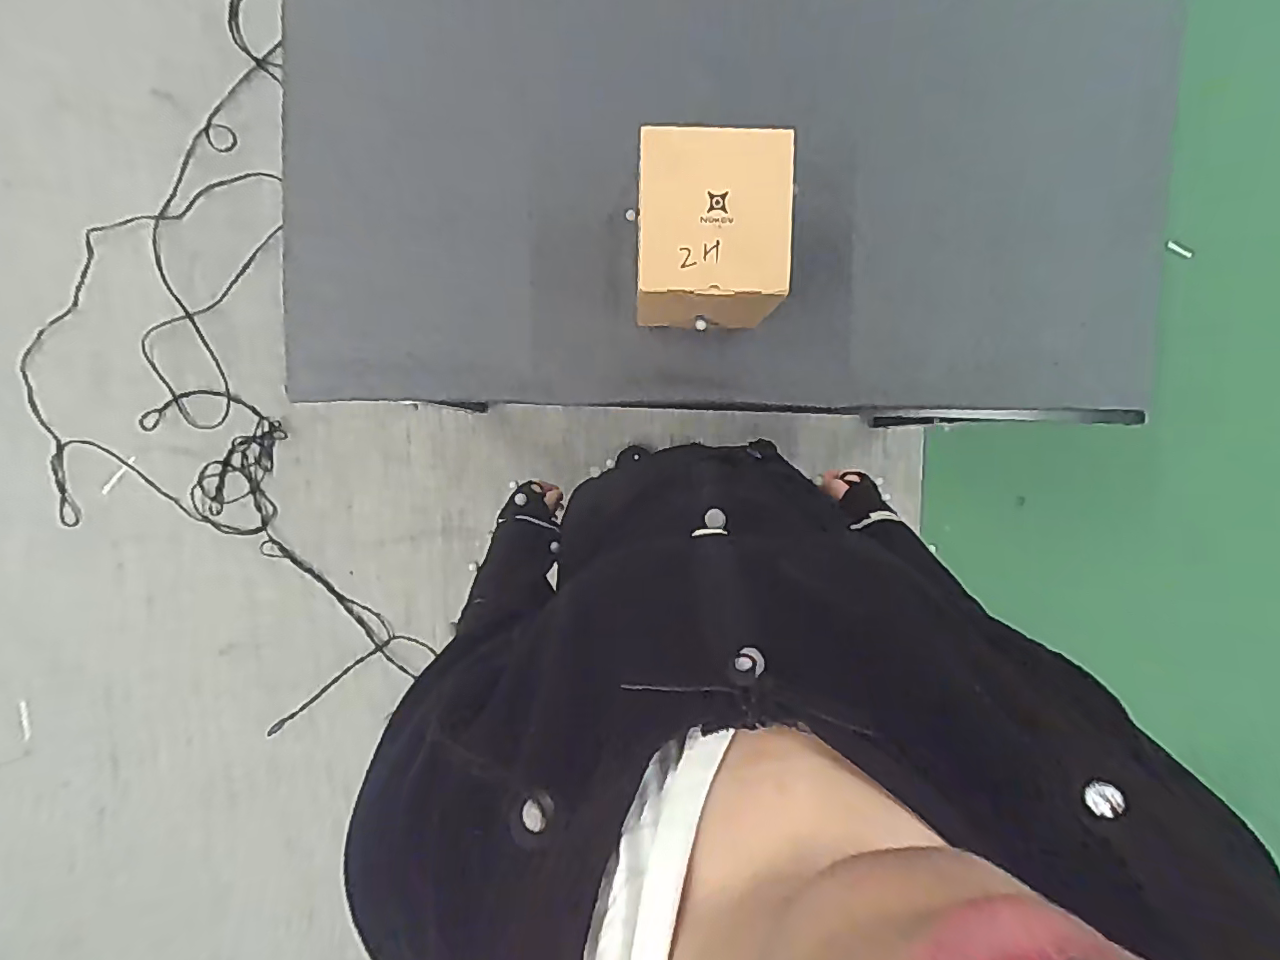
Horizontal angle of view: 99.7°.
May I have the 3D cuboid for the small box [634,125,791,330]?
[{"bbox_3d":[0.077,-0.291,0.656,0.168,0.176,0.179,1,93,0],"label":"small box"}]
